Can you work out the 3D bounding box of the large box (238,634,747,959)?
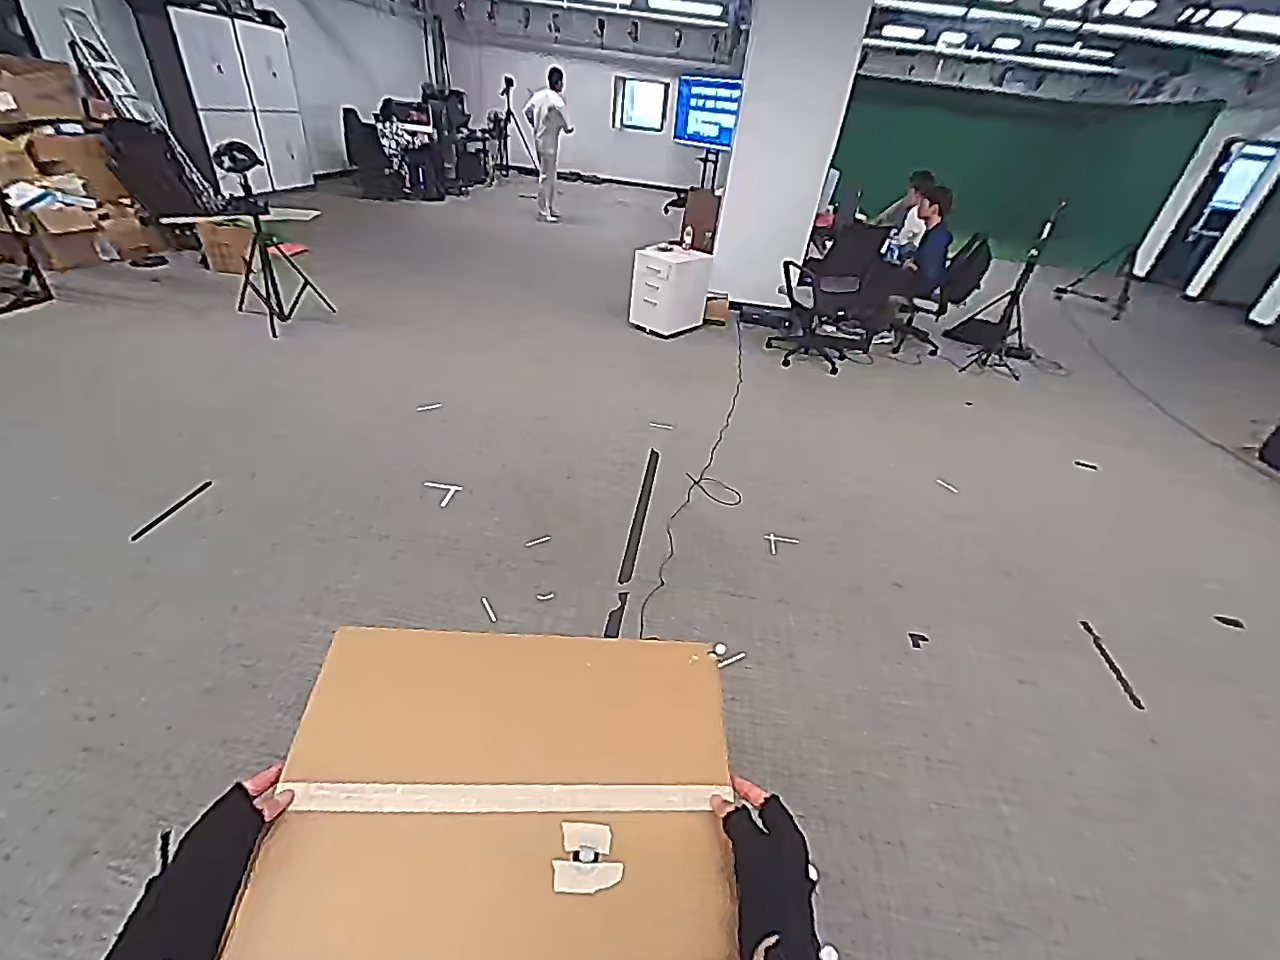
[{"bbox_3d":[-0.133,0.394,0.612,0.408,0.320,0.320,5,49,-7],"label":"large box"}]
